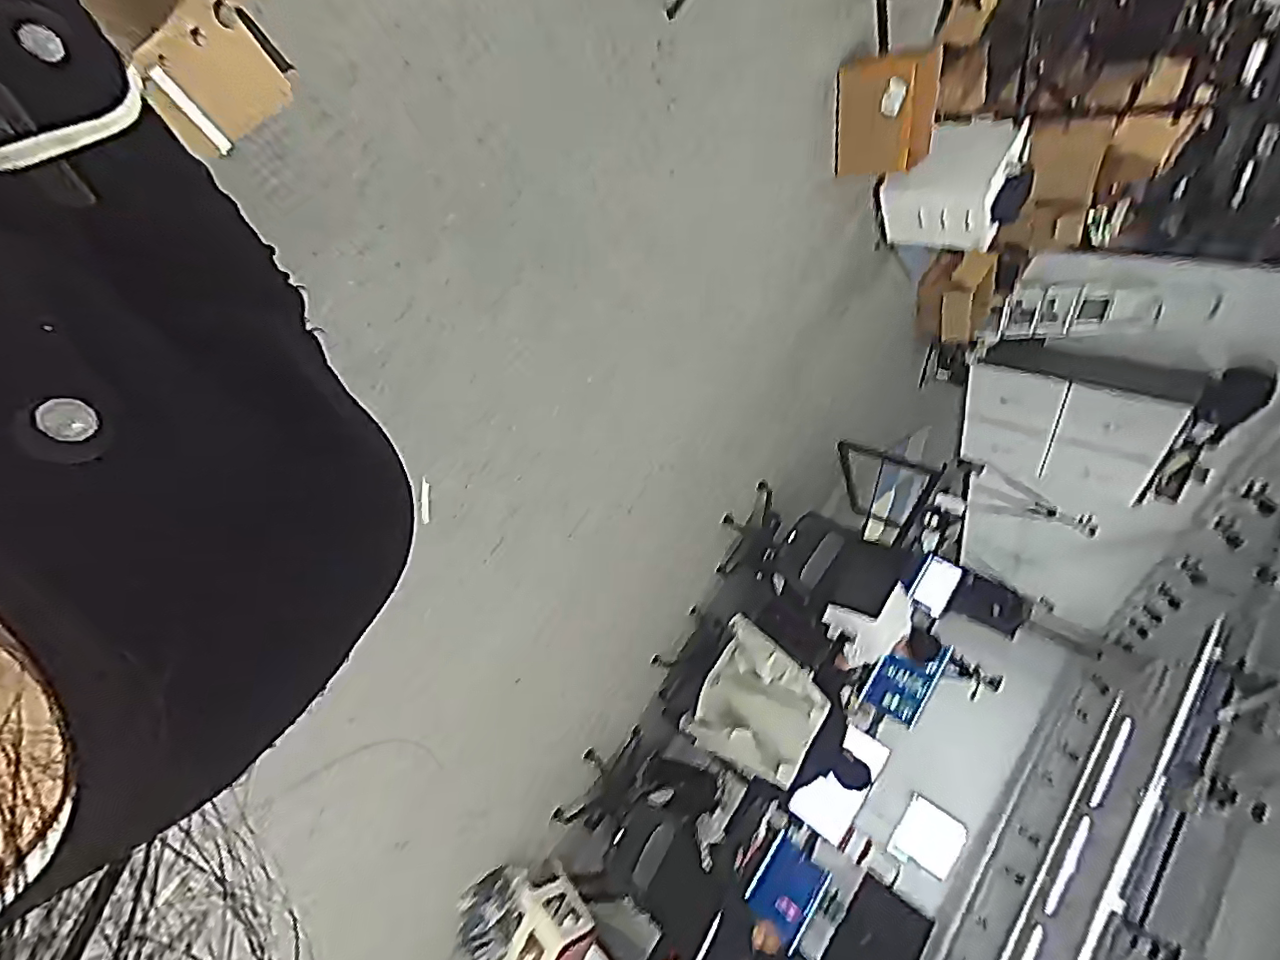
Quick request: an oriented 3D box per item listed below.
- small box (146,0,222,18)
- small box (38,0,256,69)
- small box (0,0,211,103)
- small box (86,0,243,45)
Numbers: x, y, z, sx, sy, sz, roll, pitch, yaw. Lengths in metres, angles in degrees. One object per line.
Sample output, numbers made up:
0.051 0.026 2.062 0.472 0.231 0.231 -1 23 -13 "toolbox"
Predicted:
-0.236 -0.381 0.275 0.179 0.176 0.168 -50 140 -16 "small box"
-0.468 -0.496 0.473 0.168 0.176 0.179 -50 140 -16 "small box"
-0.701 -0.609 0.676 0.168 0.176 0.179 -52 142 -13 "small box"
-0.354 -0.440 0.374 0.168 0.176 0.179 -50 140 -16 "small box"
